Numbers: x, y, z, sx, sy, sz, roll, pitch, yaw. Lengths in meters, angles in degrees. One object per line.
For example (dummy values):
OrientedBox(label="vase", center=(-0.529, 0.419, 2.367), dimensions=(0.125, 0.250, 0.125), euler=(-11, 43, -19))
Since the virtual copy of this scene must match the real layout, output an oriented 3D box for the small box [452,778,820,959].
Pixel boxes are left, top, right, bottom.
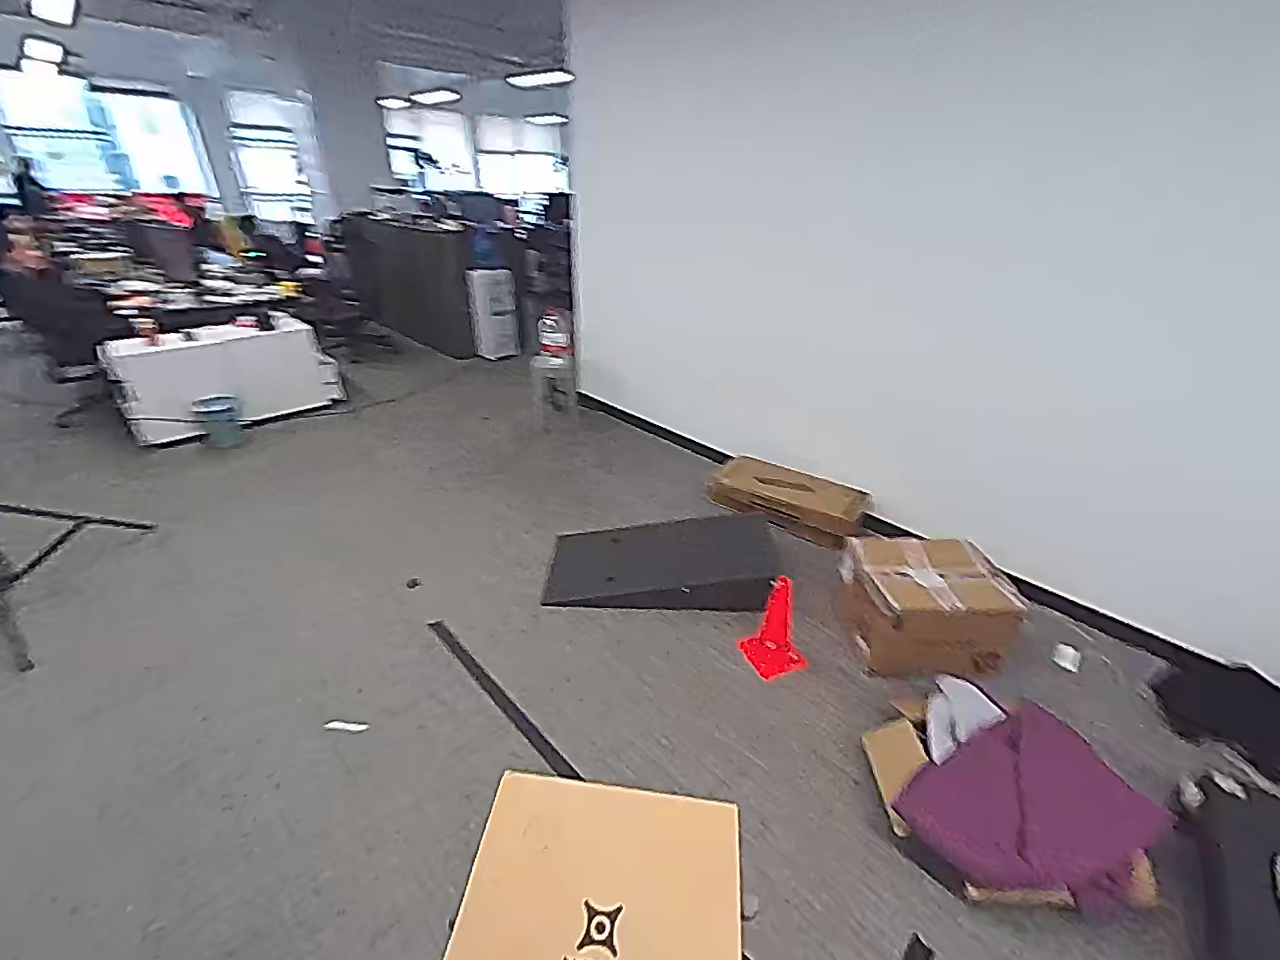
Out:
OrientedBox(label="small box", center=(-0.005, 0.287, 0.274), dimensions=(0.168, 0.176, 0.179), euler=(4, 36, 4))
